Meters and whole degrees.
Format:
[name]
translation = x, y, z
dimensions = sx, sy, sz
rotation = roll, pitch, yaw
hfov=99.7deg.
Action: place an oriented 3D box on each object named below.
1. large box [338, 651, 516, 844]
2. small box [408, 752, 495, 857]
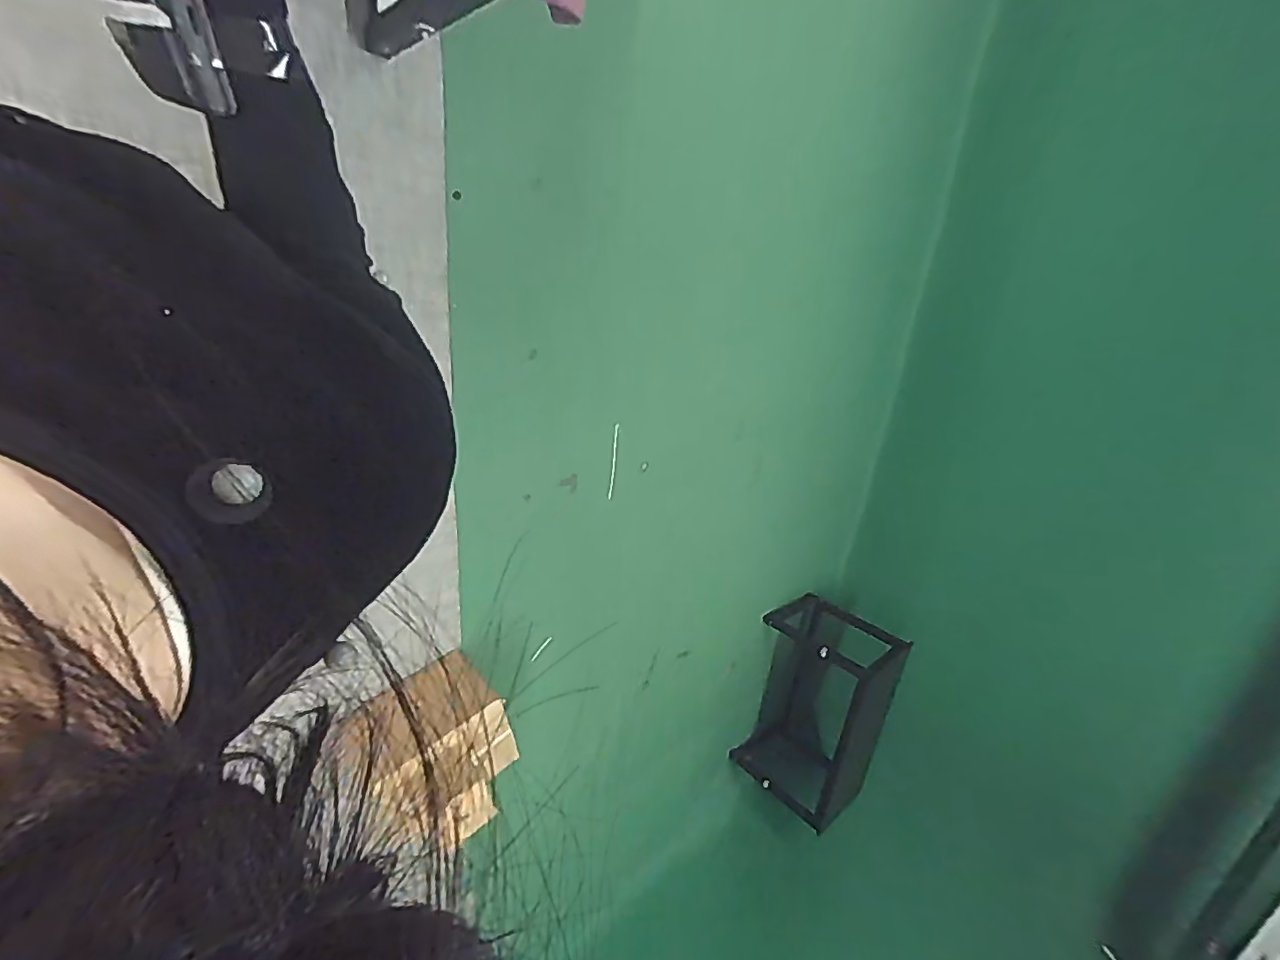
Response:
[large box]
translation = -0.684, 0.849, 1.767
dimensions = 0.408, 0.320, 0.320
rotation = -29, 128, -35
[small box]
translation = -0.551, 0.930, 1.572
dimensions = 0.168, 0.176, 0.179
rotation = -27, 125, -34
